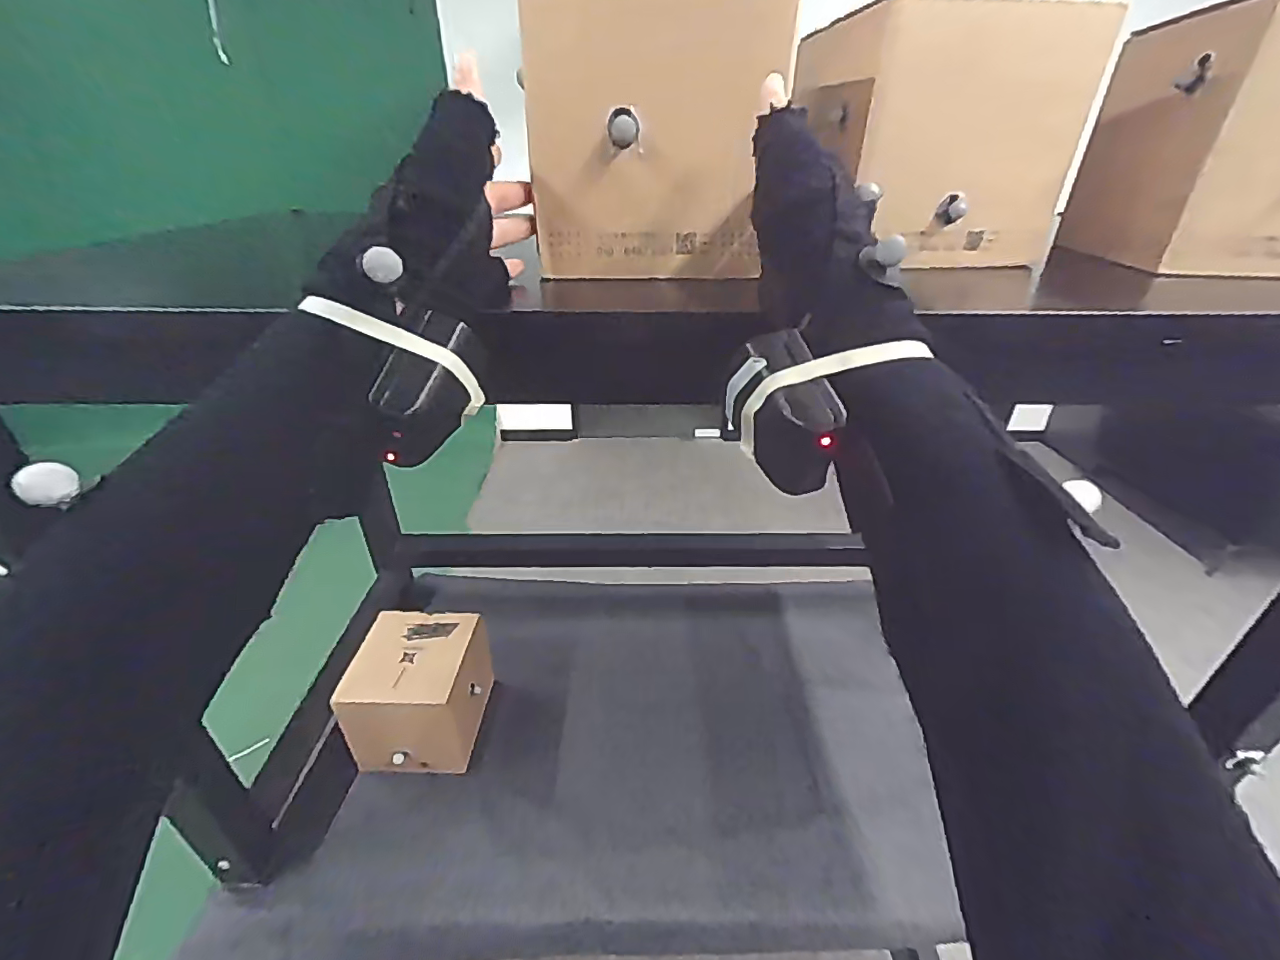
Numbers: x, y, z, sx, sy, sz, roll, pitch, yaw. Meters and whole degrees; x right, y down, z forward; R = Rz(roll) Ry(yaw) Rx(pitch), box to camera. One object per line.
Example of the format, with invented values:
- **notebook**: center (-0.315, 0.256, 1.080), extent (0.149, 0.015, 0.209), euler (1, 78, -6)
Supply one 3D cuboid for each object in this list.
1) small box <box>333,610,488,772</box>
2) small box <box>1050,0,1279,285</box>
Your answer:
- **small box**: center (-0.348, 0.330, 0.861), extent (0.168, 0.176, 0.179), euler (1, 31, 0)
- **small box**: center (0.475, -0.255, 0.426), extent (0.168, 0.176, 0.179), euler (6, 31, 9)
